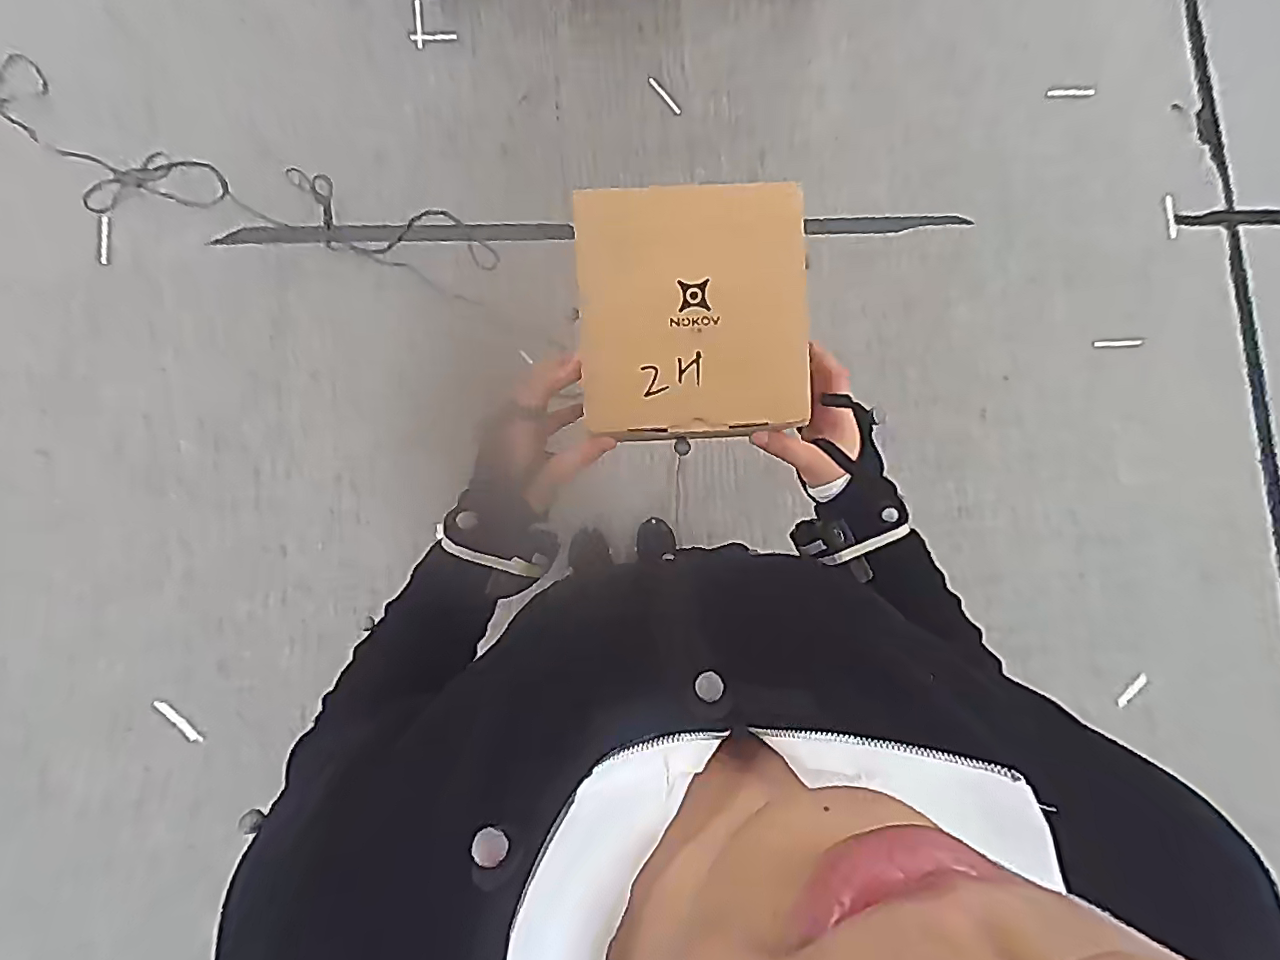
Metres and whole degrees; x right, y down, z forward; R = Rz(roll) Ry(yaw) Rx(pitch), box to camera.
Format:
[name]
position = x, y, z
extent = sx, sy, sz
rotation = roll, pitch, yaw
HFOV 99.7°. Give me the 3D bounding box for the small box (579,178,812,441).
[small box]
position = 0.037, -0.126, 0.462
extent = 0.168, 0.176, 0.179
rotation = -2, 92, -1
